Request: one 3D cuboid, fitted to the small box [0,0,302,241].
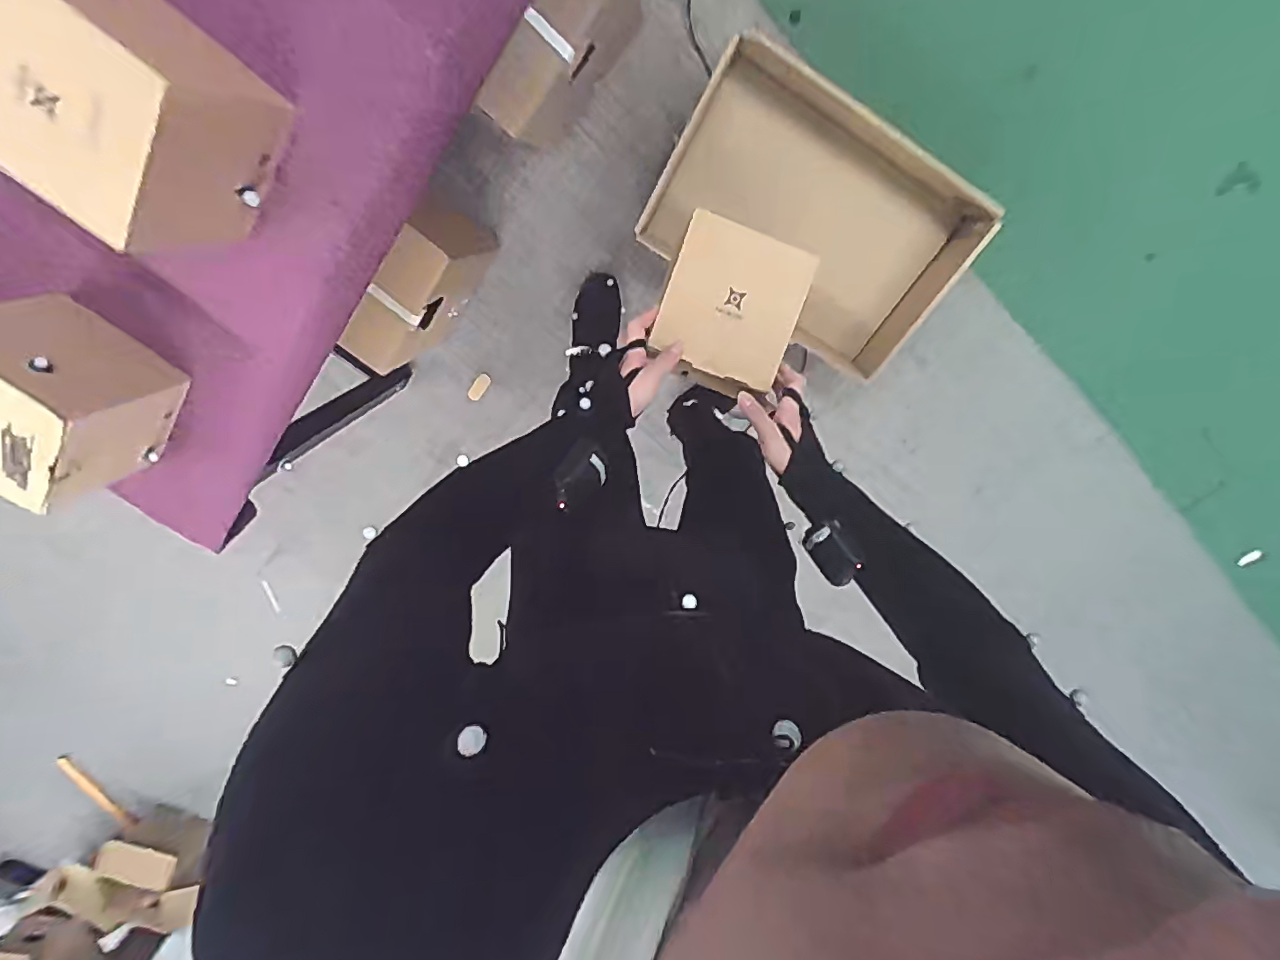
[{"bbox_3d":[-0.482,-0.357,0.521,0.179,0.176,0.168,38,115,-13],"label":"small box"}]

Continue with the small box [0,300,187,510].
[{"bbox_3d":[-0.726,-0.102,0.671,0.179,0.176,0.168,39,113,-12],"label":"small box"}]

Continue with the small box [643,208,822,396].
[{"bbox_3d":[0.107,-0.221,0.721,0.168,0.176,0.179,19,97,-7],"label":"small box"}]

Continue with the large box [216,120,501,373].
[{"bbox_3d":[-0.592,-0.508,1.198,0.408,0.320,0.320,38,113,-12],"label":"large box"}]
